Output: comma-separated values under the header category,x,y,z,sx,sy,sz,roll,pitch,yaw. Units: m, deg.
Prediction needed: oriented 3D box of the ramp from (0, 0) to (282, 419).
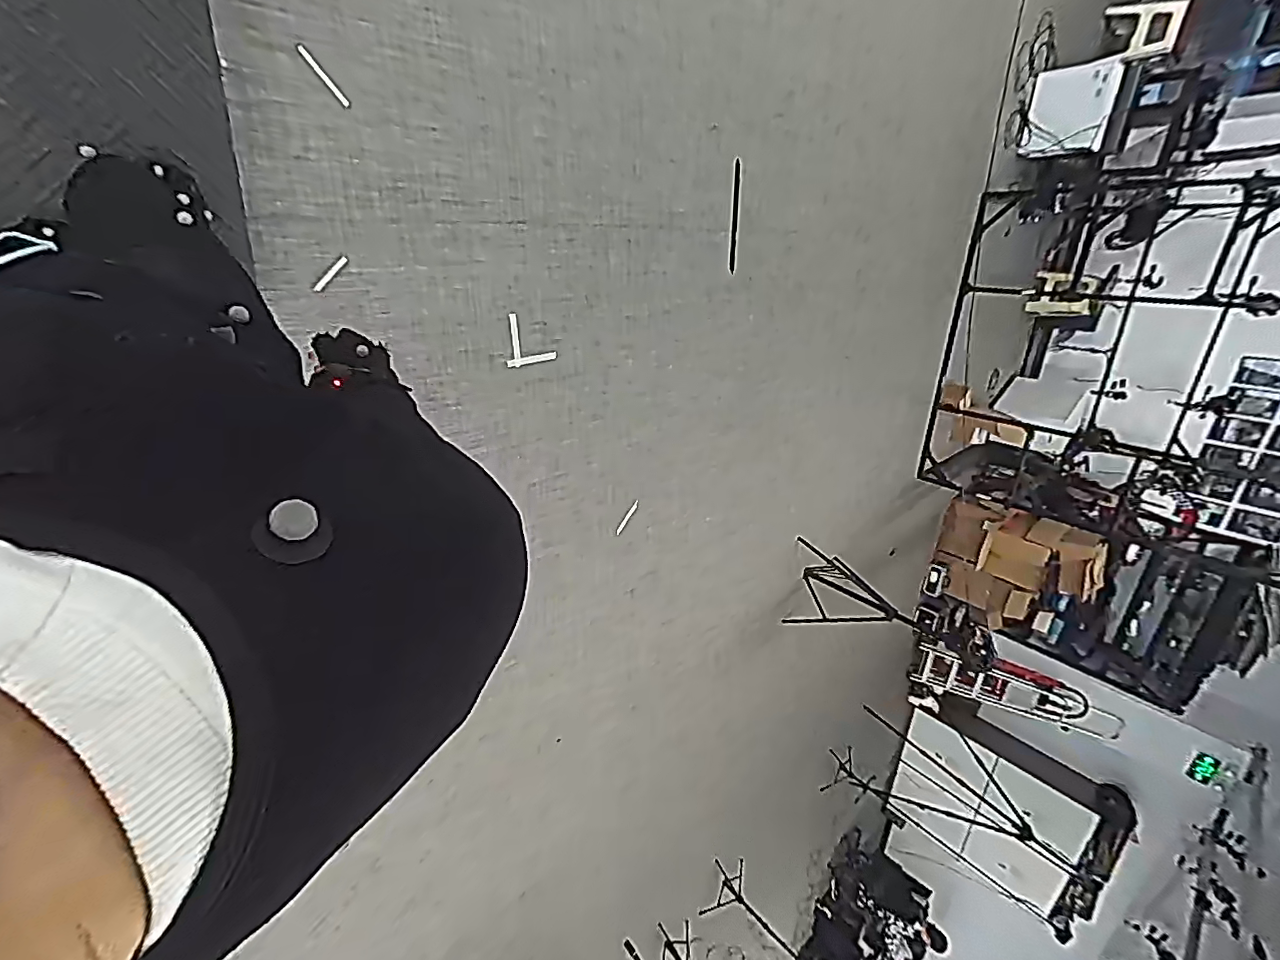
category,x,y,z,sx,sy,sz,roll,pitch,yaw
ramp,-0.956,-0.594,0.881,0.509,0.206,0.991,-20,120,-38
